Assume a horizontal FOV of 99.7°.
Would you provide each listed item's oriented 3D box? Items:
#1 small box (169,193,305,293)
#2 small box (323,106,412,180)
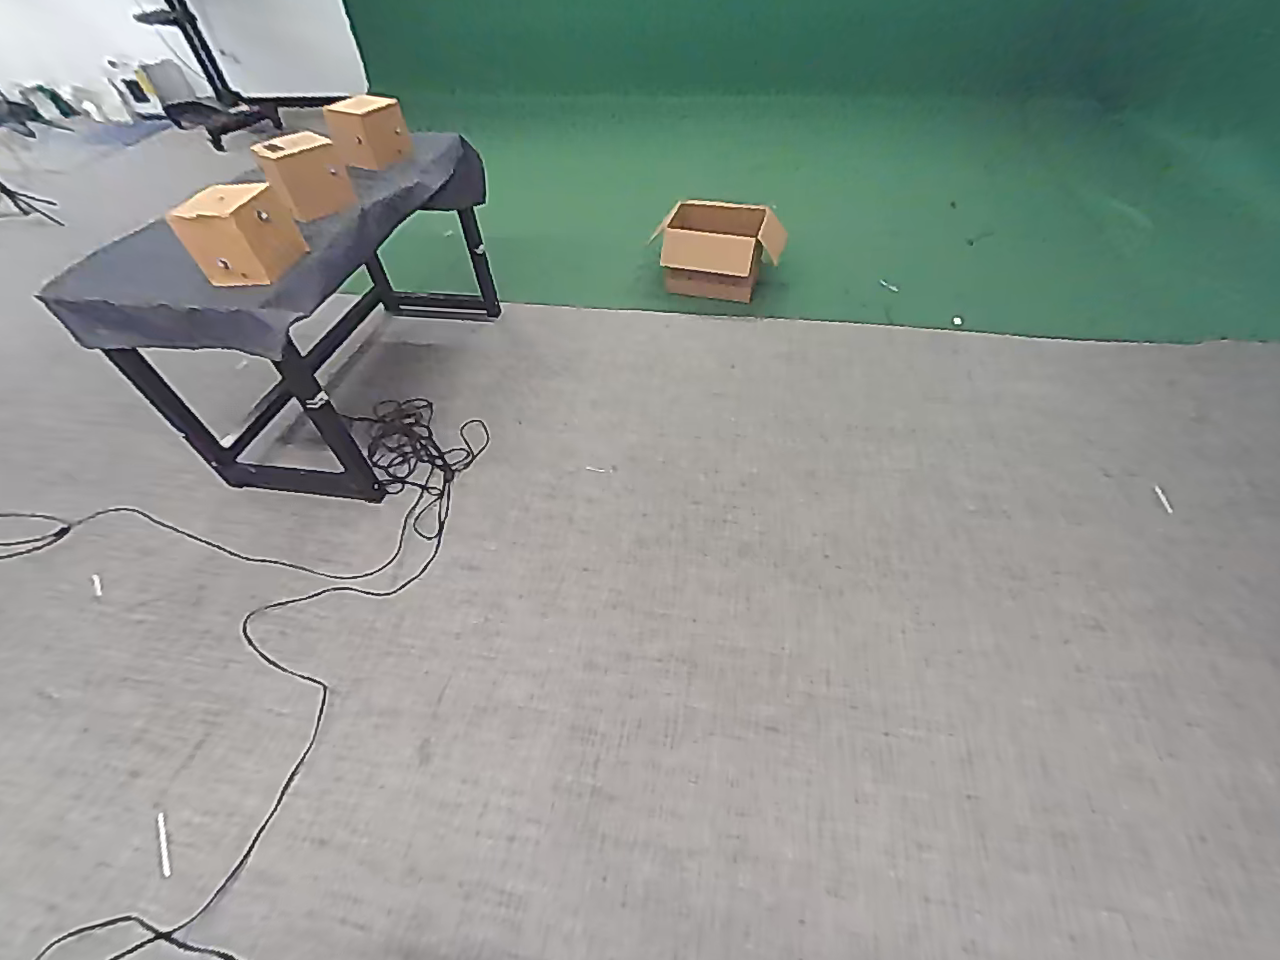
[{"bbox_3d":[-0.953,-0.570,1.303,0.168,0.176,0.179,1,48,8],"label":"small box"},{"bbox_3d":[-0.901,-1.122,1.804,0.179,0.176,0.168,19,51,21],"label":"small box"}]
